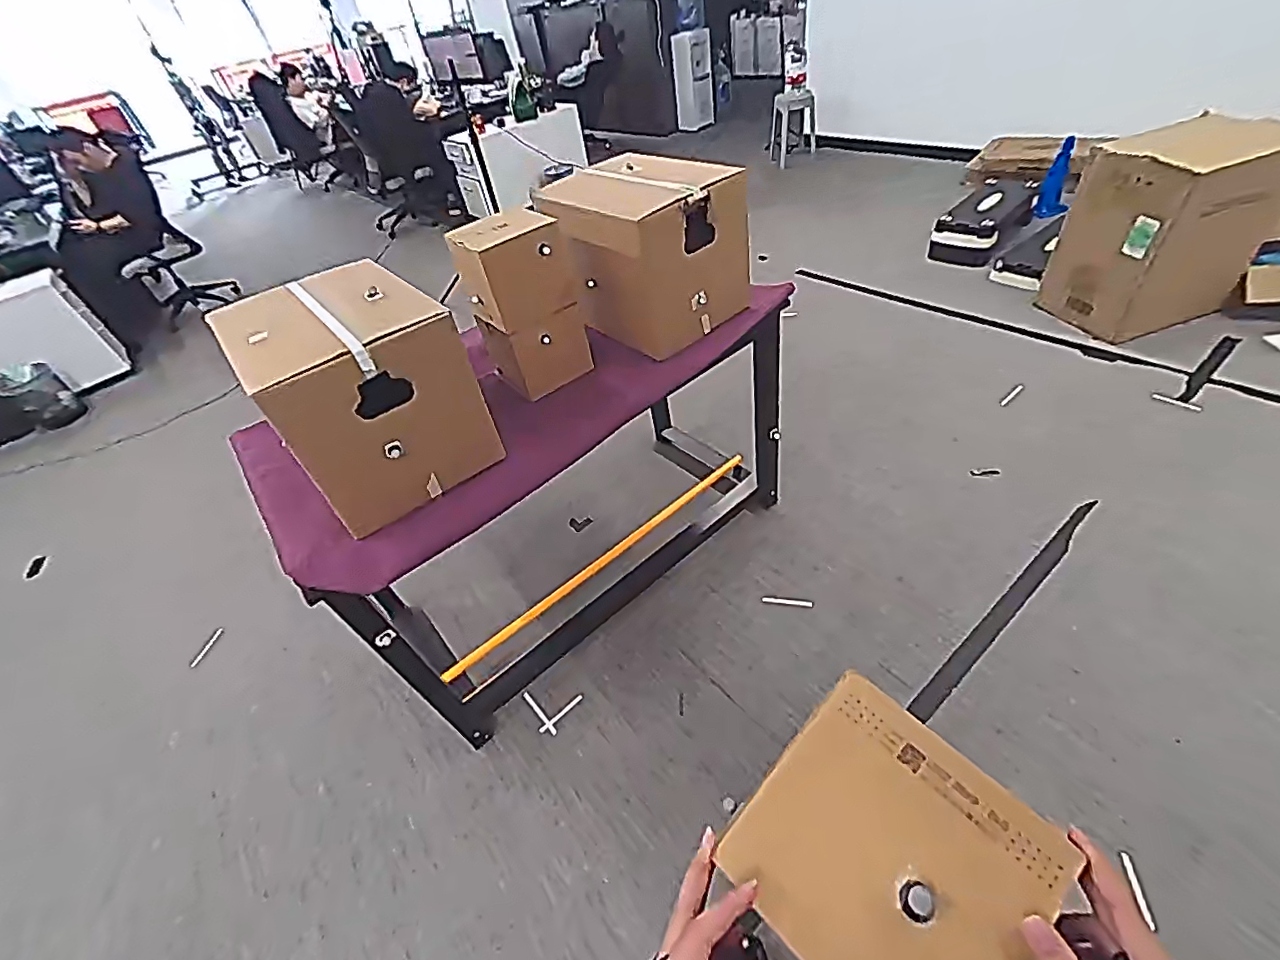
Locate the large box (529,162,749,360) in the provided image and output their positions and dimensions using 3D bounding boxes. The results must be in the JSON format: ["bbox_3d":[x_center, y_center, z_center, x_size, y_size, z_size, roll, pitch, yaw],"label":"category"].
[{"bbox_3d":[0.006,-0.536,1.295,0.320,0.320,0.408,-35,47,-24],"label":"large box"}]
